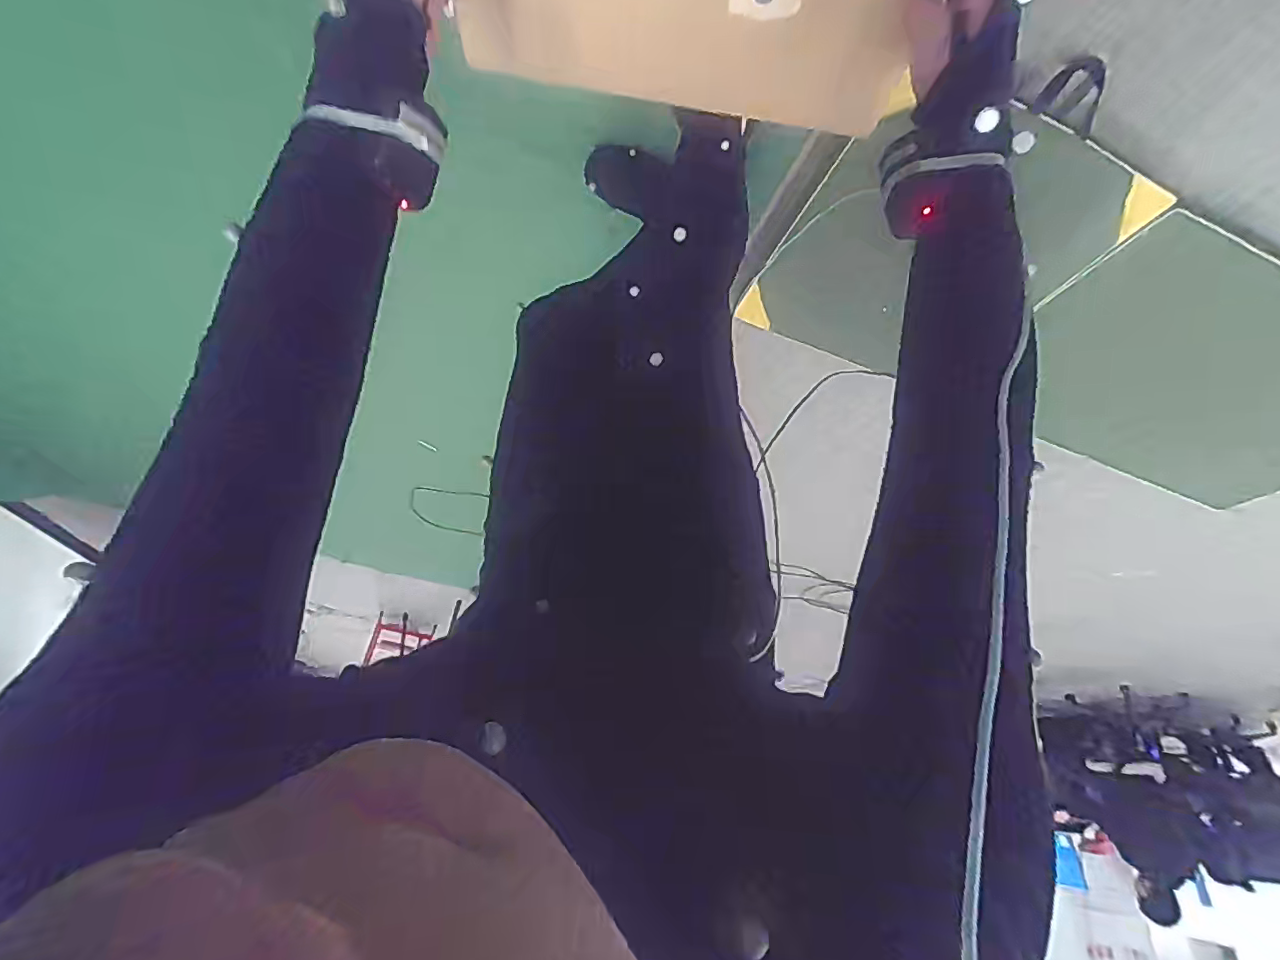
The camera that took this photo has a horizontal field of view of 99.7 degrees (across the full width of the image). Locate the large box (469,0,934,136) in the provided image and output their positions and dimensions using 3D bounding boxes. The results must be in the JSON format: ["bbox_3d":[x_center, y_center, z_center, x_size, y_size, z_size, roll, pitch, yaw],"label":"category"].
[{"bbox_3d":[0.066,-0.571,0.463,0.408,0.320,0.320,9,158,-2],"label":"large box"}]
